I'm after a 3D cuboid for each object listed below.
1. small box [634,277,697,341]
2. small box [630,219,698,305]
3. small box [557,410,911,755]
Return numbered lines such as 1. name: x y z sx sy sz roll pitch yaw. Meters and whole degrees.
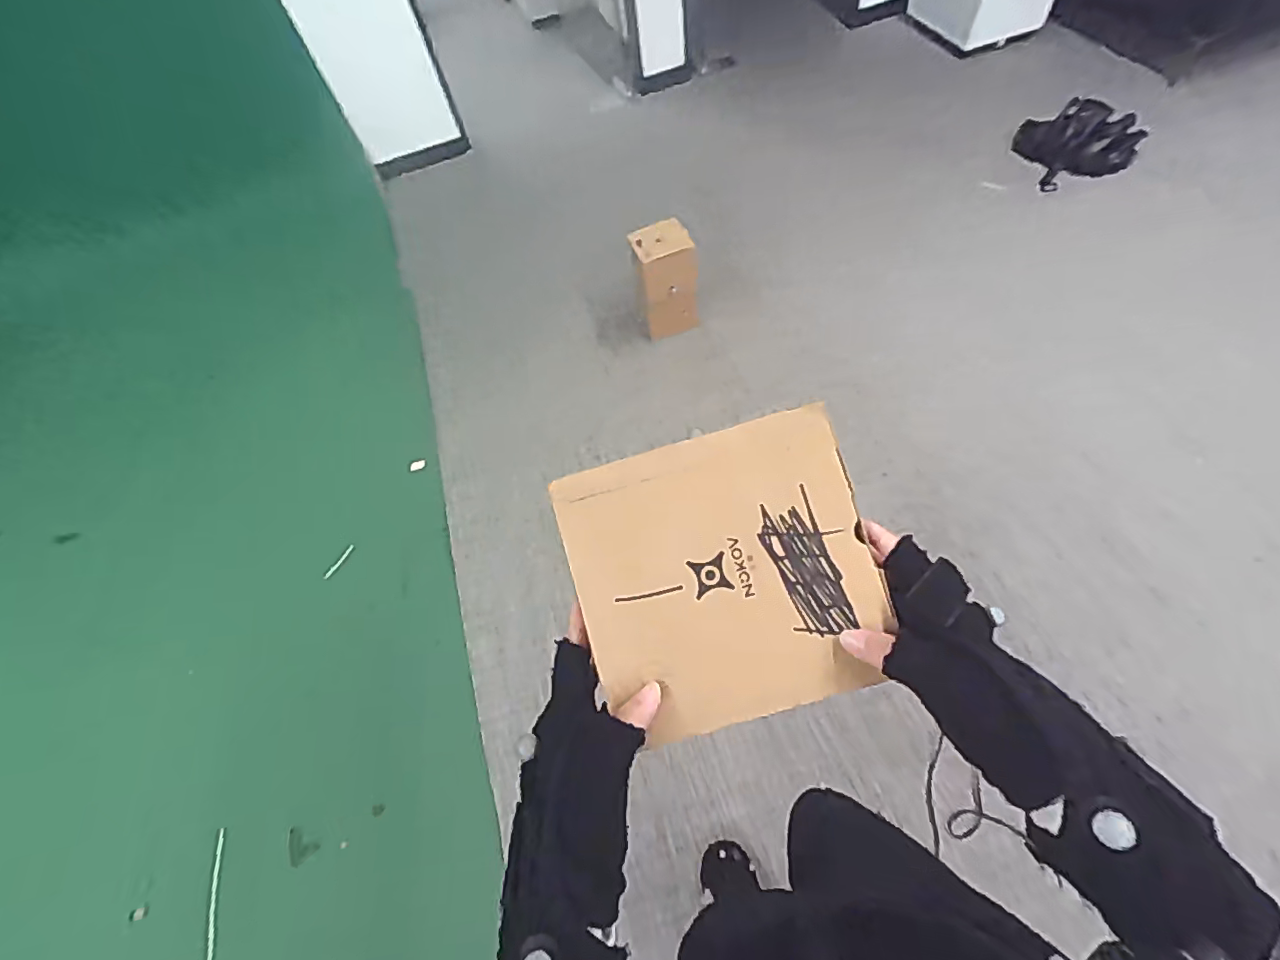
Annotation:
1. small box: 0.095 -0.624 1.900 0.179 0.176 0.168 -21 58 -2
2. small box: 0.080 -0.705 1.759 0.179 0.176 0.168 -20 58 -3
3. small box: 0.055 0.066 0.403 0.179 0.176 0.168 -19 83 -1
